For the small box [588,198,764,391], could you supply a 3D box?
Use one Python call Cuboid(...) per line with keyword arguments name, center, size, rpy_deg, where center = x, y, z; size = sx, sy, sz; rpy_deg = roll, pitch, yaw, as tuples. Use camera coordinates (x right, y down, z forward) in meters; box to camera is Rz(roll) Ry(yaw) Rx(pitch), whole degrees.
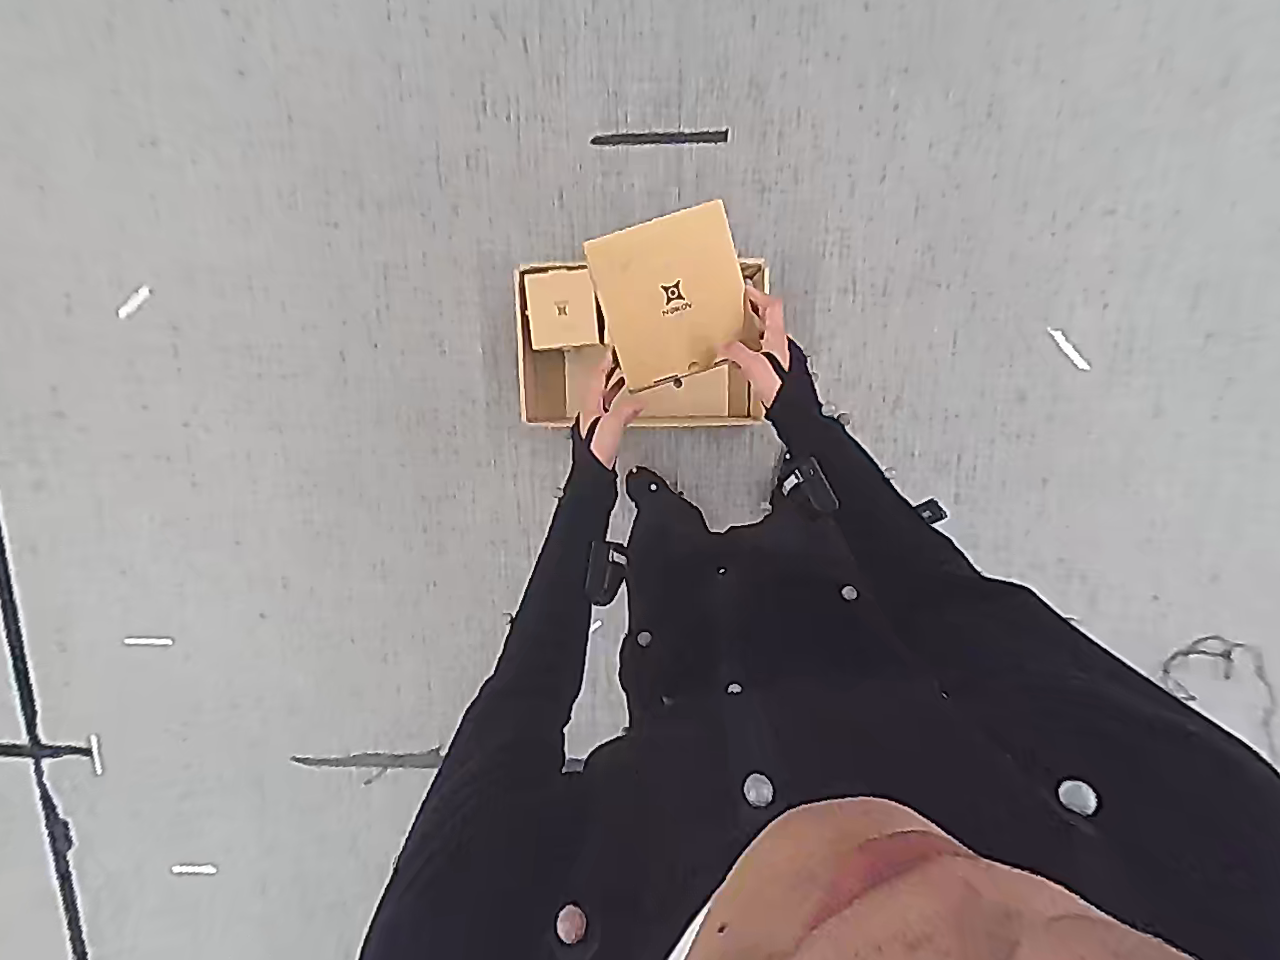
Cuboid(name="small box", center=(0.038, -0.219, 0.686), size=(0.168, 0.176, 0.179), rpy_deg=(-17, 99, 1))
